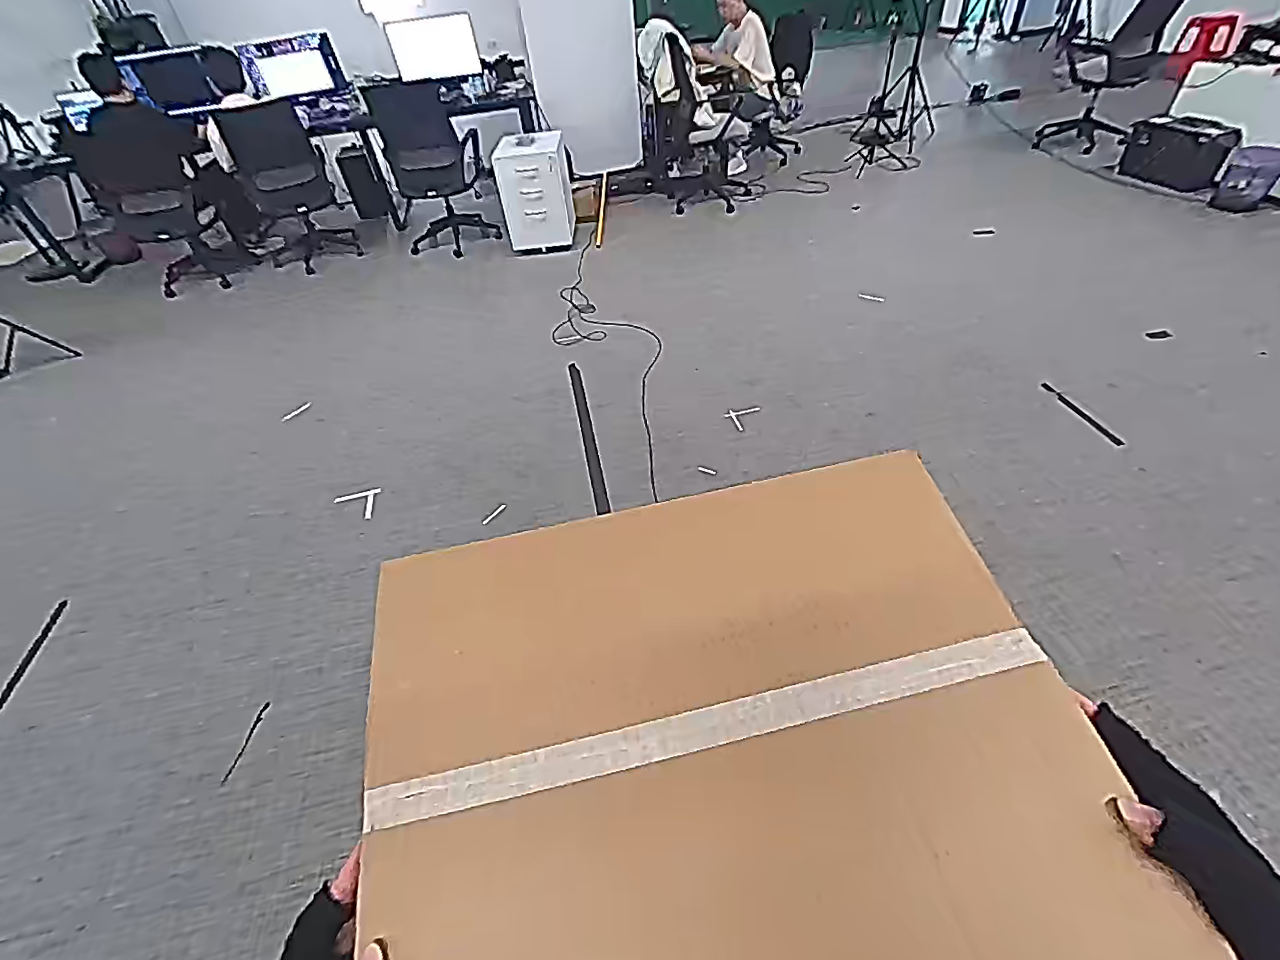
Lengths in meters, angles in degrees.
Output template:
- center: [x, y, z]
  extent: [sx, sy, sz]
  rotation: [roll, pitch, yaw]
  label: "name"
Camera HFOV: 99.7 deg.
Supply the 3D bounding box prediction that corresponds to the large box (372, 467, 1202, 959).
- center: [0.056, 0.237, 0.446]
  extent: [0.408, 0.320, 0.320]
  rotation: [-13, 55, -3]
  label: "large box"
